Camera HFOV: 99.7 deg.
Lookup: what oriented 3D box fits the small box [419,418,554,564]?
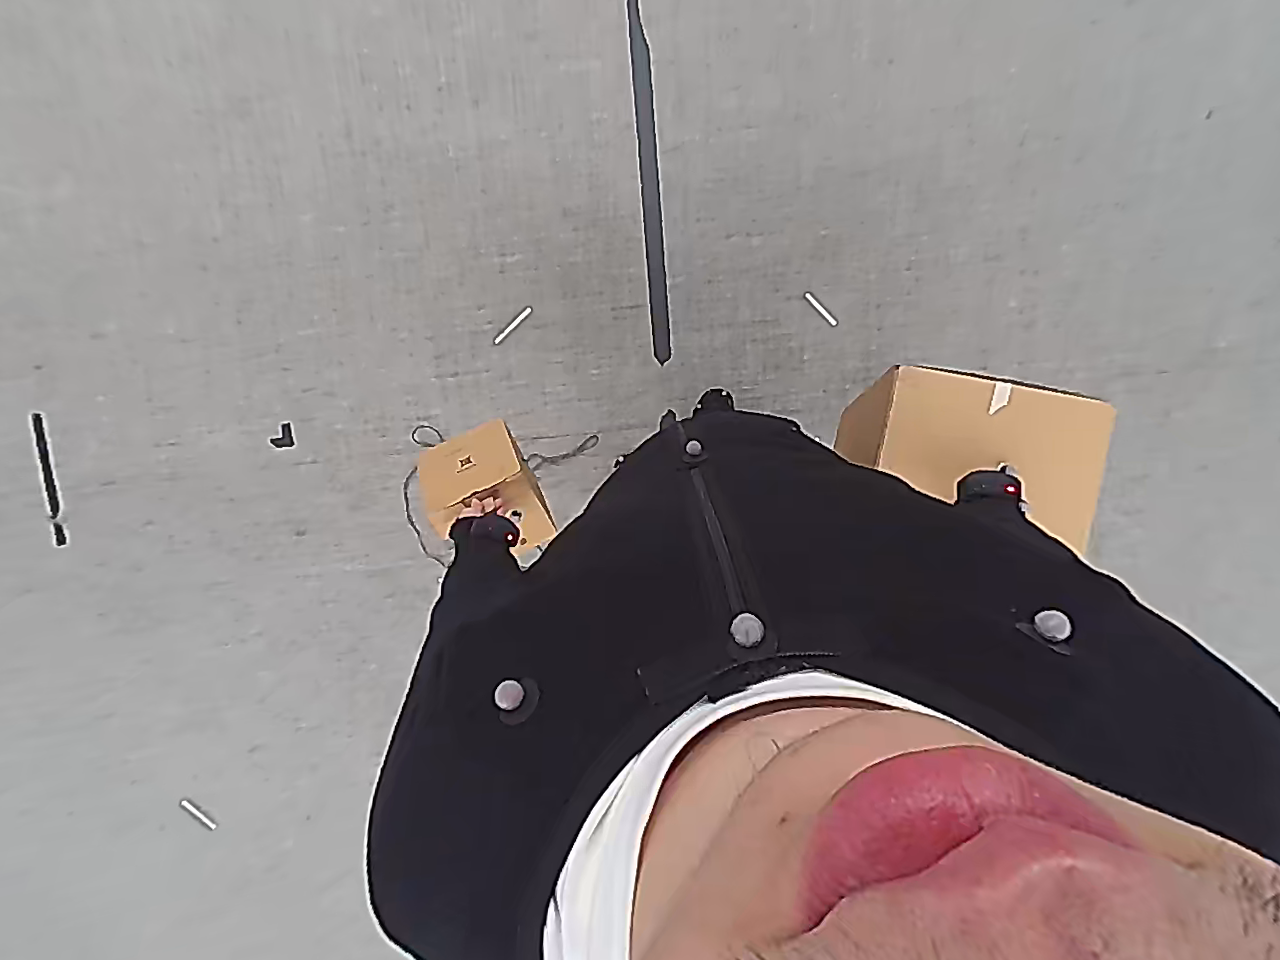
[{"bbox_3d":[-0.271,0.027,0.970,0.168,0.179,0.176,-26,135,-7],"label":"small box"}]
